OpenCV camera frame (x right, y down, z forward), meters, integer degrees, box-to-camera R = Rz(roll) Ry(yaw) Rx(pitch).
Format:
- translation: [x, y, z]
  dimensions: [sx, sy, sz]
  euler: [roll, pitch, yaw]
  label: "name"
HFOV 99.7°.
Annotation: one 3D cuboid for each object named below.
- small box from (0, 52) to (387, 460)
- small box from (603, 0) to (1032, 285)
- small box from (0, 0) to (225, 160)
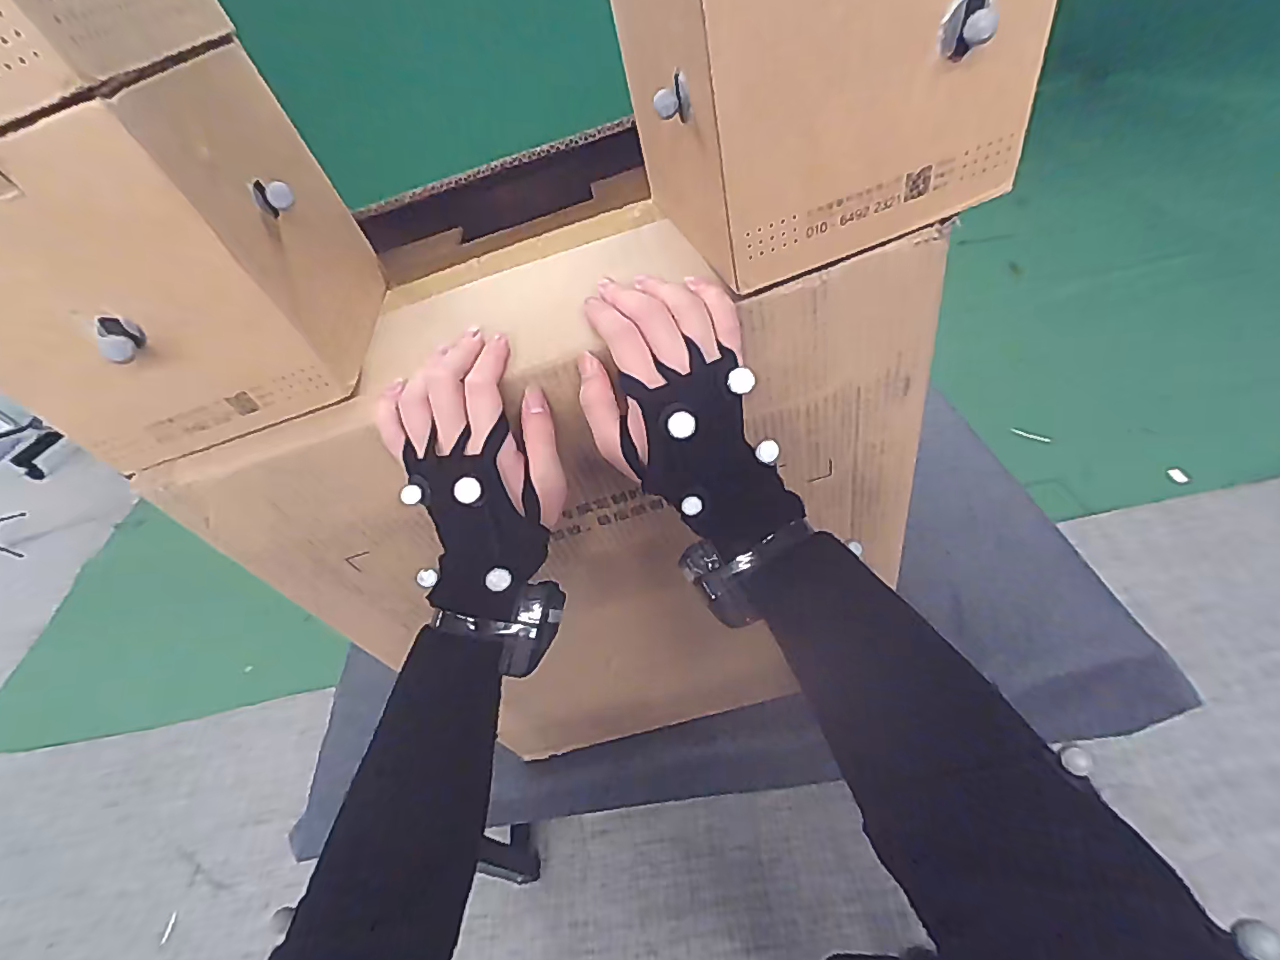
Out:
- translation: [-0.291, -0.133, 0.350]
  dimensions: [0.168, 0.176, 0.179]
  euler: [-18, 46, 4]
  label: "small box"
- translation: [0.087, -0.233, 0.304]
  dimensions: [0.168, 0.176, 0.179]
  euler: [-20, 45, -1]
  label: "small box"
- translation: [-0.334, -0.240, 0.232]
  dimensions: [0.168, 0.176, 0.179]
  euler: [-18, 47, 5]
  label: "small box"
